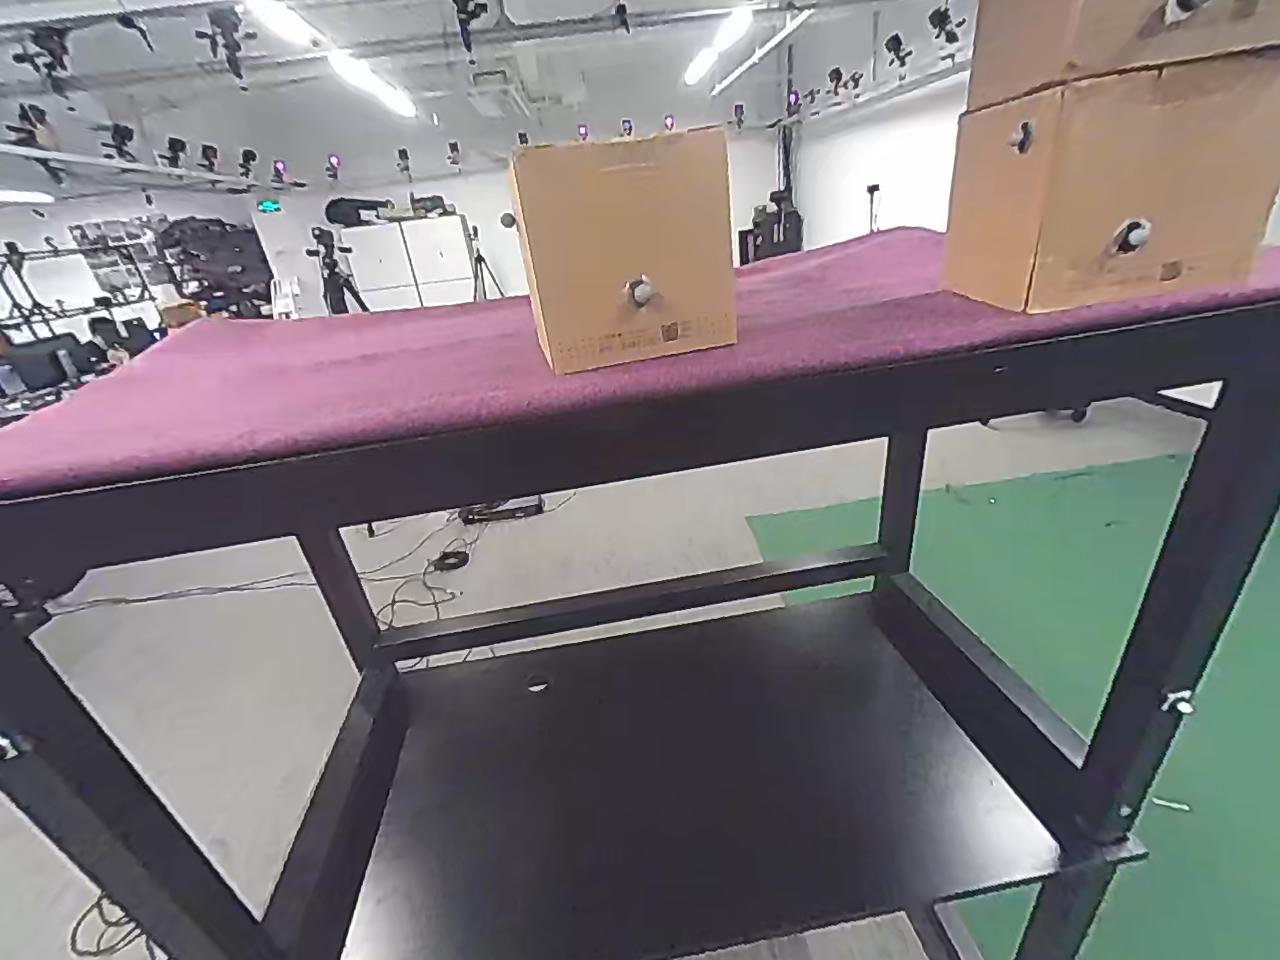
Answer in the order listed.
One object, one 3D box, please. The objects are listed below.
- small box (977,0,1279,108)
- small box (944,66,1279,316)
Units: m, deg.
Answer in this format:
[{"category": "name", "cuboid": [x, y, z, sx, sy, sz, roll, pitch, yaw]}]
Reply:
[{"category": "small box", "cuboid": [0.380, -0.390, 0.403, 0.168, 0.176, 0.179, -4, 29, 10]}, {"category": "small box", "cuboid": [0.398, -0.250, 0.483, 0.168, 0.176, 0.179, -5, 28, 6]}]
